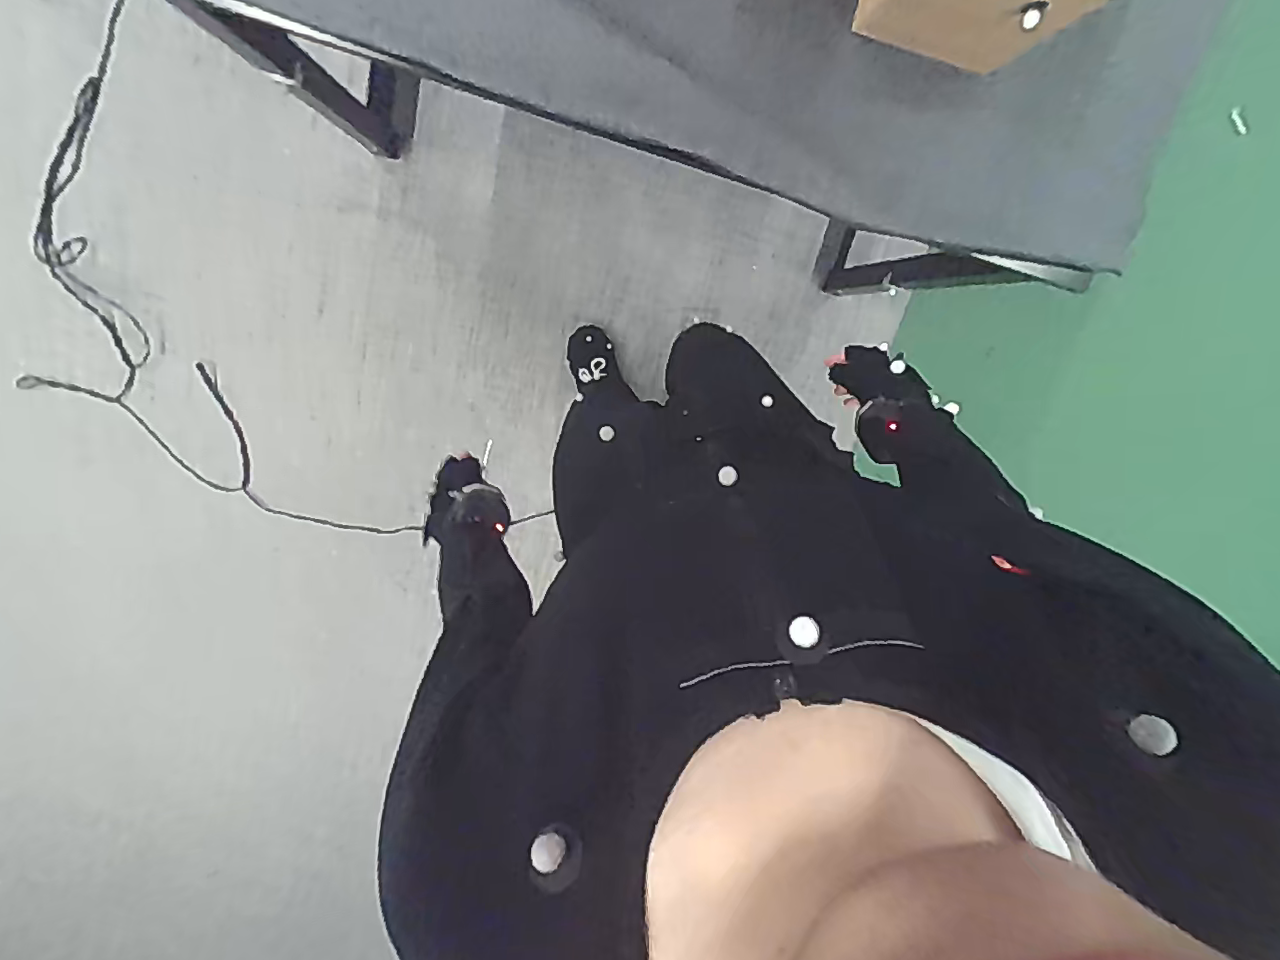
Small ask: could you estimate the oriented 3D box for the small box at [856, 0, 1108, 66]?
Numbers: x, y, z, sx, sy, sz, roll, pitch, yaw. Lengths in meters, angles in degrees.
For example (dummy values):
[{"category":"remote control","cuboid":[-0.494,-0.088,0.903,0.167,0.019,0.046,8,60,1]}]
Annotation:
[{"category":"small box","cuboid":[0.347,-0.543,0.523,0.179,0.176,0.168,10,105,-8]}]
